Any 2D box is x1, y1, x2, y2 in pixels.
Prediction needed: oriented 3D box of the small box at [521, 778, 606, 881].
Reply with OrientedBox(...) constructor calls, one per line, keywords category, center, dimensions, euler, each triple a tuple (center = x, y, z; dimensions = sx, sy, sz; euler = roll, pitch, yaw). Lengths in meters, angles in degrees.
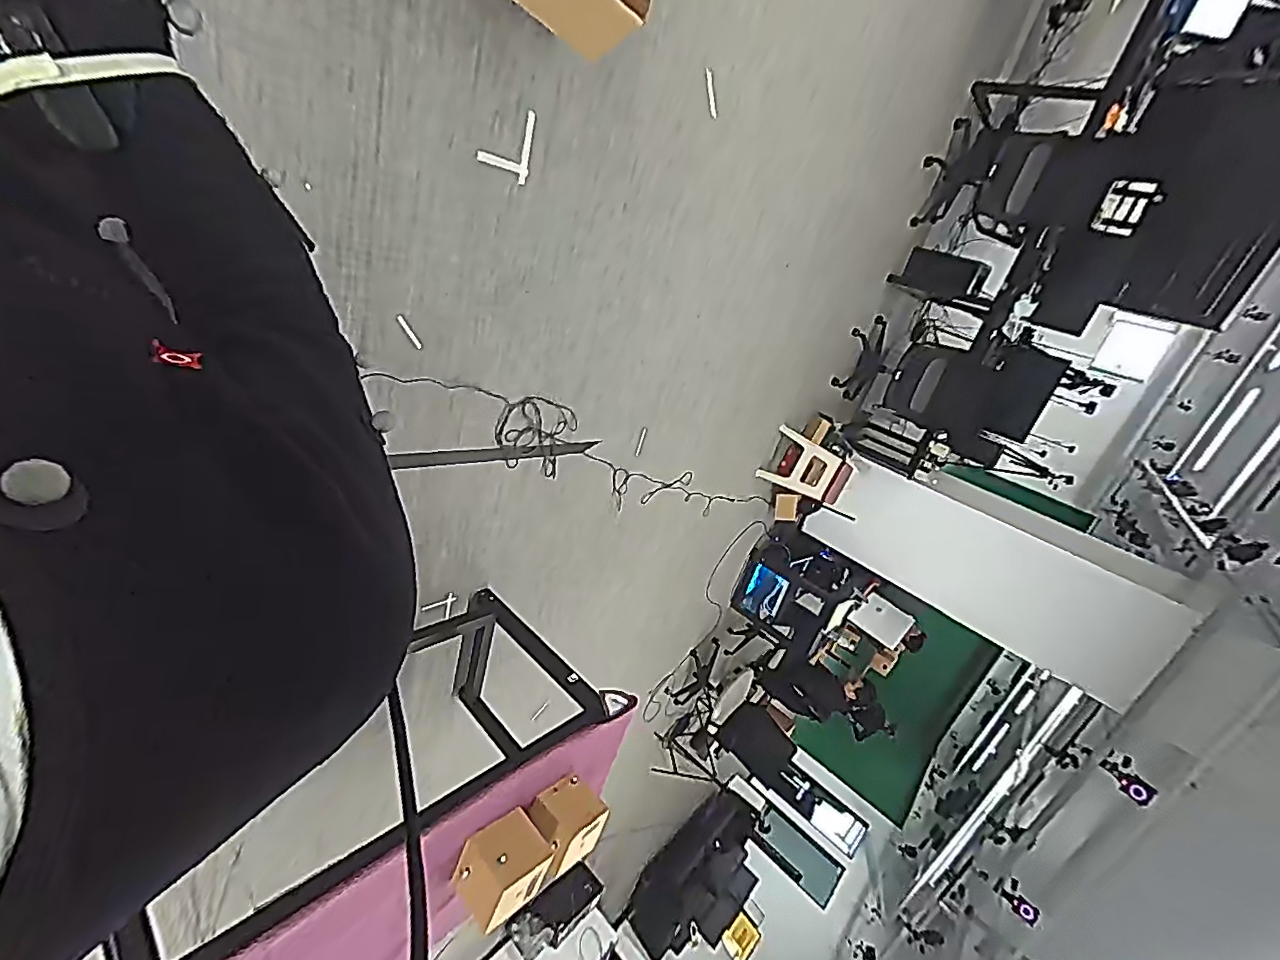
OrientedBox(category="small box", center=(-0.236, 1.048, 1.645), dimensions=(0.168, 0.176, 0.179), euler=(-2, 118, -53))
